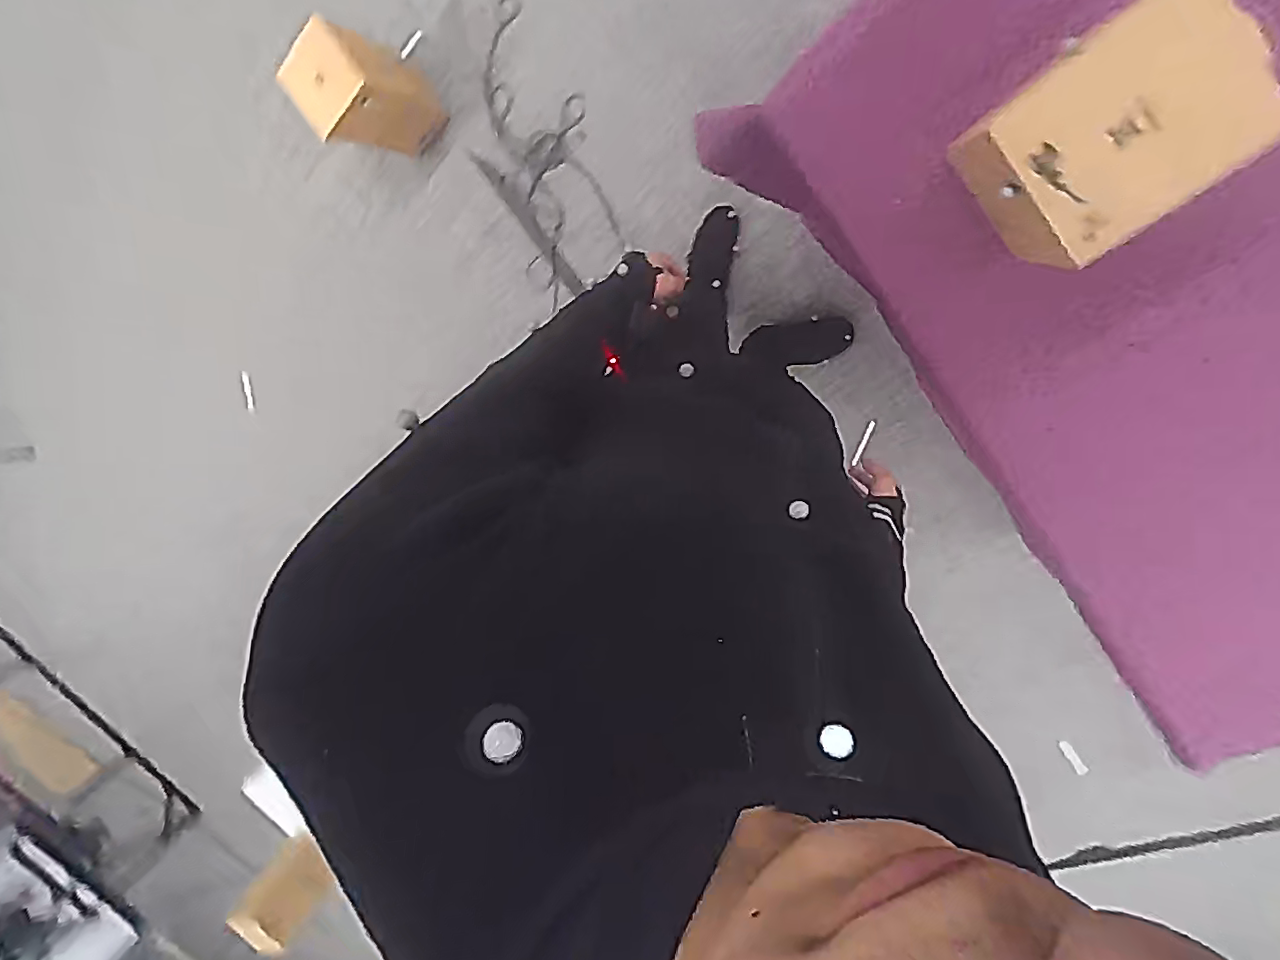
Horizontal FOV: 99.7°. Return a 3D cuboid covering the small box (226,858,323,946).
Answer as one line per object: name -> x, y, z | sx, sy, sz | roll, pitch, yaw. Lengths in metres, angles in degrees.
small box -> -1.196, 1.389, 1.782 | 0.179, 0.176, 0.168 | -29, 104, 26

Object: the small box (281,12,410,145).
small box -> -0.685, -0.928, 1.274 | 0.179, 0.176, 0.168 | -31, 101, 26

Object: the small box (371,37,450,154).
small box -> -0.642, -0.992, 1.416 | 0.168, 0.176, 0.179 | -32, 101, 27

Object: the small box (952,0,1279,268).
small box -> 0.461, -0.344, 0.553 | 0.179, 0.176, 0.168 | -36, 99, 26
